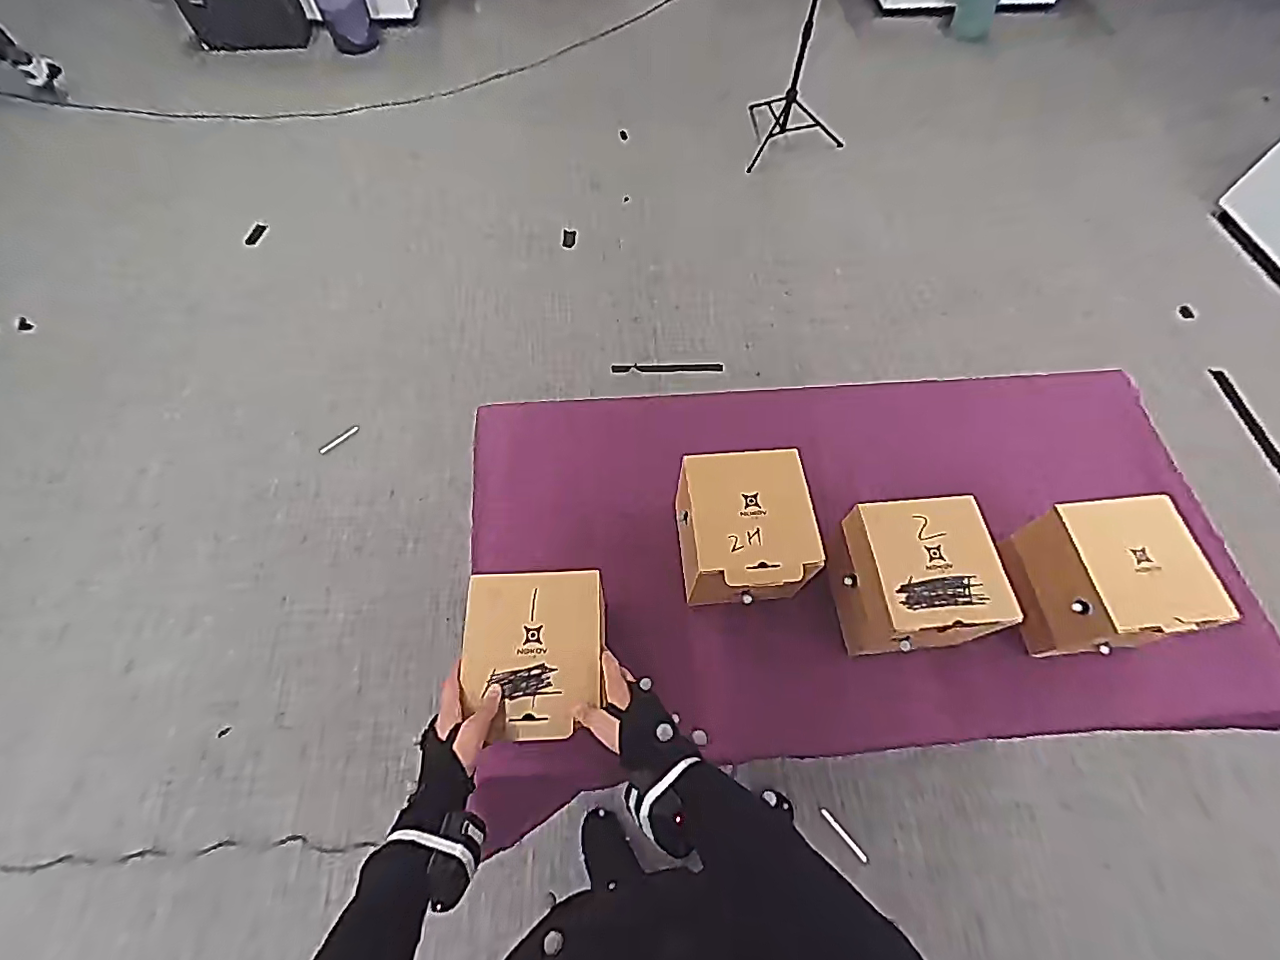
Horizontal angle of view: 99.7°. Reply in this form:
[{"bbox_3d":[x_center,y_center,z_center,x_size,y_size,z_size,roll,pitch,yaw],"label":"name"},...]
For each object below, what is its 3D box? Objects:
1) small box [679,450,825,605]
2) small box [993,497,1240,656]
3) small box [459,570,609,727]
[{"bbox_3d":[0.152,0.075,0.802,0.168,0.176,0.179,-4,63,-2],"label":"small box"},{"bbox_3d":[0.655,0.143,0.775,0.168,0.176,0.179,-5,63,-3],"label":"small box"},{"bbox_3d":[-0.127,0.230,0.719,0.168,0.176,0.179,-1,62,-2],"label":"small box"}]
